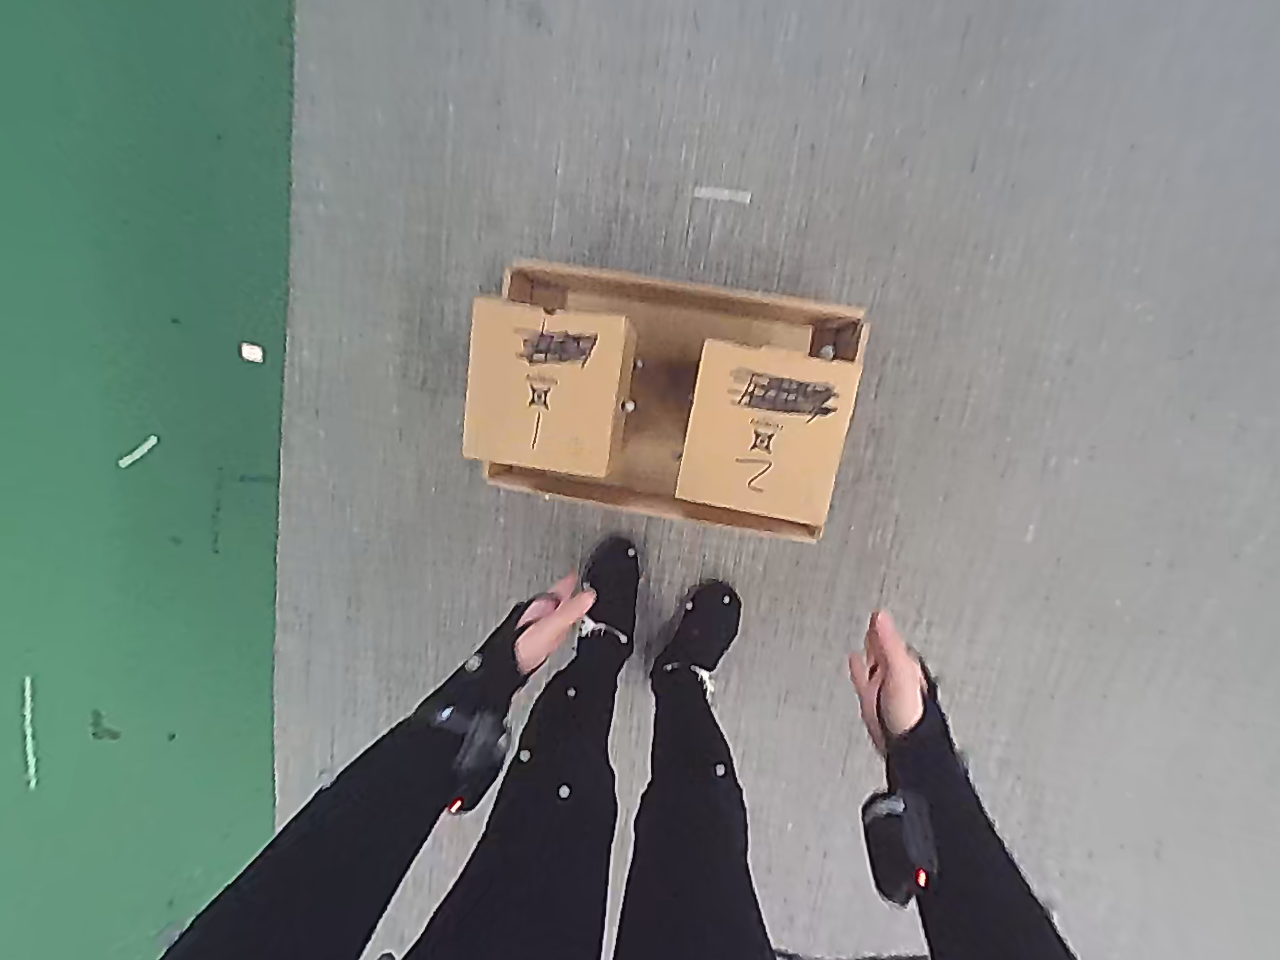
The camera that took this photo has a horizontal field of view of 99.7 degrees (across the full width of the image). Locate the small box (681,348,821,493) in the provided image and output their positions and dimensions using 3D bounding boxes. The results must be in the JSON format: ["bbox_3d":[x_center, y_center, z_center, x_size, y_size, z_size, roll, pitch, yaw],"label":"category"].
[{"bbox_3d":[0.158,-0.090,0.816,0.168,0.176,0.179,10,99,5],"label":"small box"}]

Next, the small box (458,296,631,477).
[{"bbox_3d":[-0.105,-0.112,0.666,0.168,0.176,0.179,9,100,2],"label":"small box"}]
